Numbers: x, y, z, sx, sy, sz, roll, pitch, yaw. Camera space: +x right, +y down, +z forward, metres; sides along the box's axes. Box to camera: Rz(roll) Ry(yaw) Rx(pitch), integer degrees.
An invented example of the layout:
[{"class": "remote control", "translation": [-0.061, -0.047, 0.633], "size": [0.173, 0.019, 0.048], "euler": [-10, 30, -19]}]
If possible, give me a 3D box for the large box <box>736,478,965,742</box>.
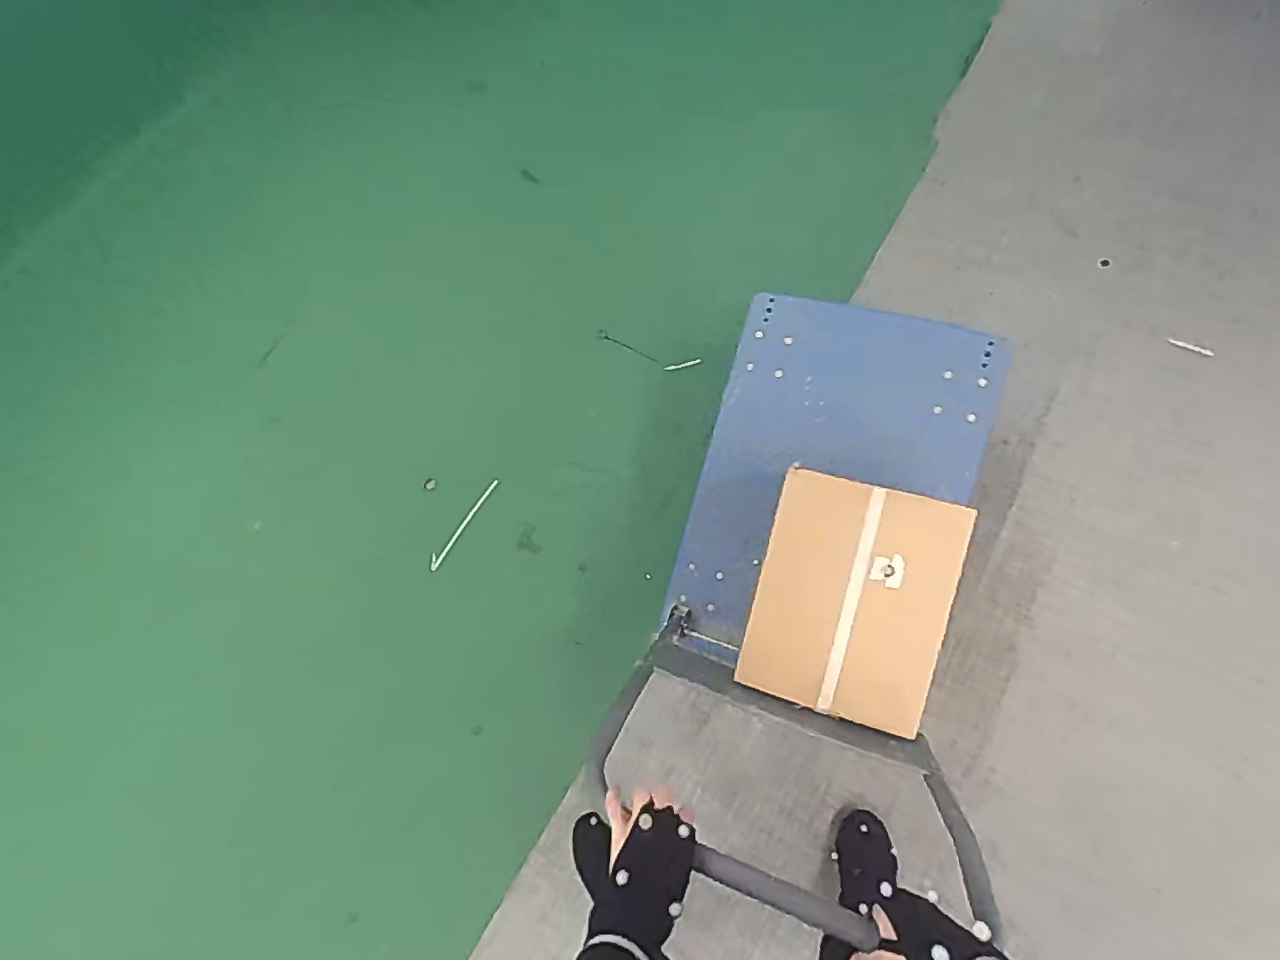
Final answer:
[{"class": "large box", "translation": [0.401, 0.234, 1.103], "size": [0.320, 0.320, 0.408], "euler": [15, 91, 13]}]
